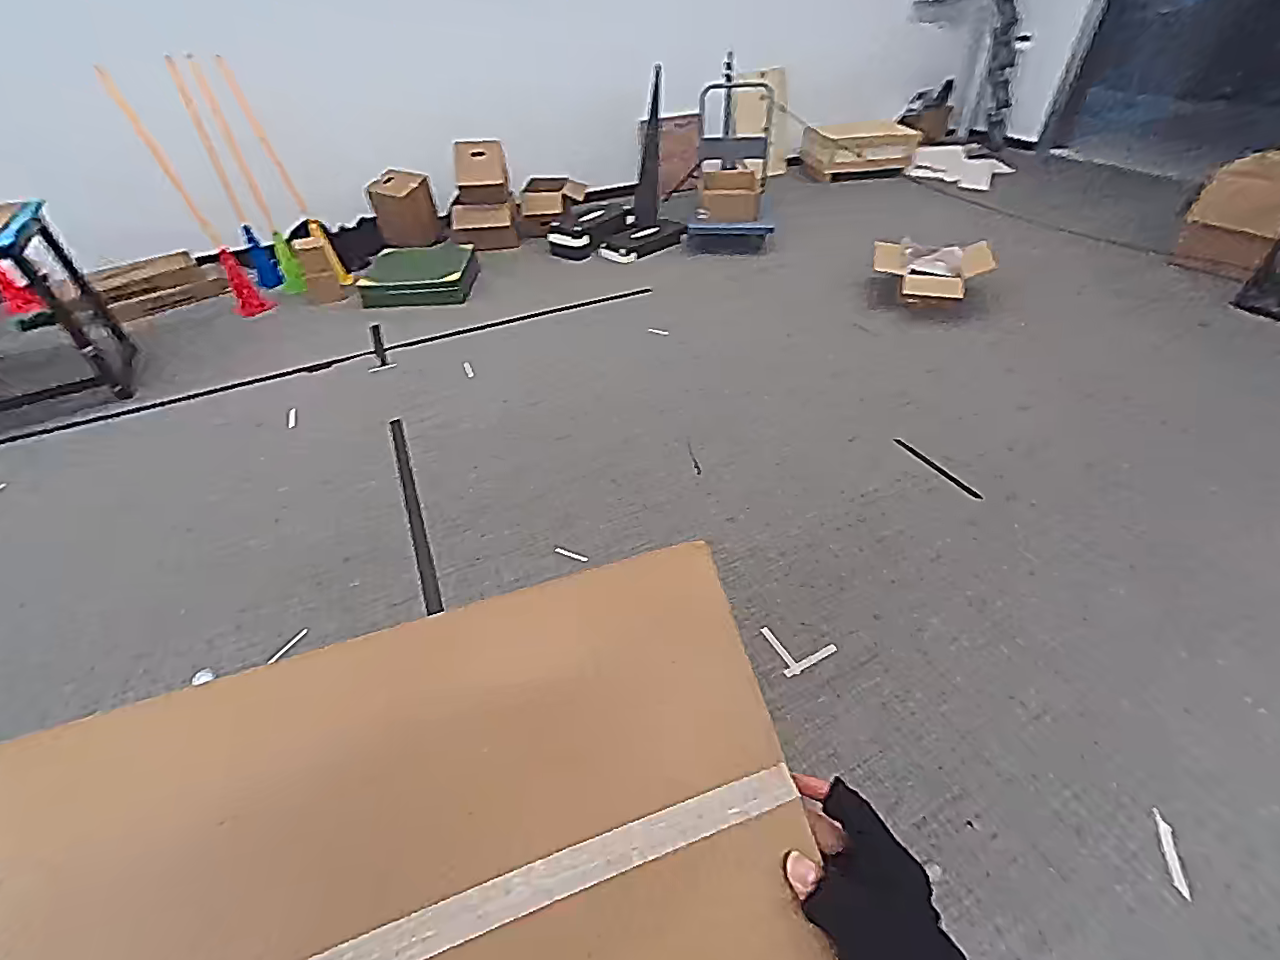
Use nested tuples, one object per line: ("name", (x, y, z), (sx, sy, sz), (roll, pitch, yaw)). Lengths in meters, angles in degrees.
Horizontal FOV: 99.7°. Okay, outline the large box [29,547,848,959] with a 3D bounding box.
("large box", (-0.119, 0.286, 0.433), (0.408, 0.320, 0.320), (-15, 74, -13))
